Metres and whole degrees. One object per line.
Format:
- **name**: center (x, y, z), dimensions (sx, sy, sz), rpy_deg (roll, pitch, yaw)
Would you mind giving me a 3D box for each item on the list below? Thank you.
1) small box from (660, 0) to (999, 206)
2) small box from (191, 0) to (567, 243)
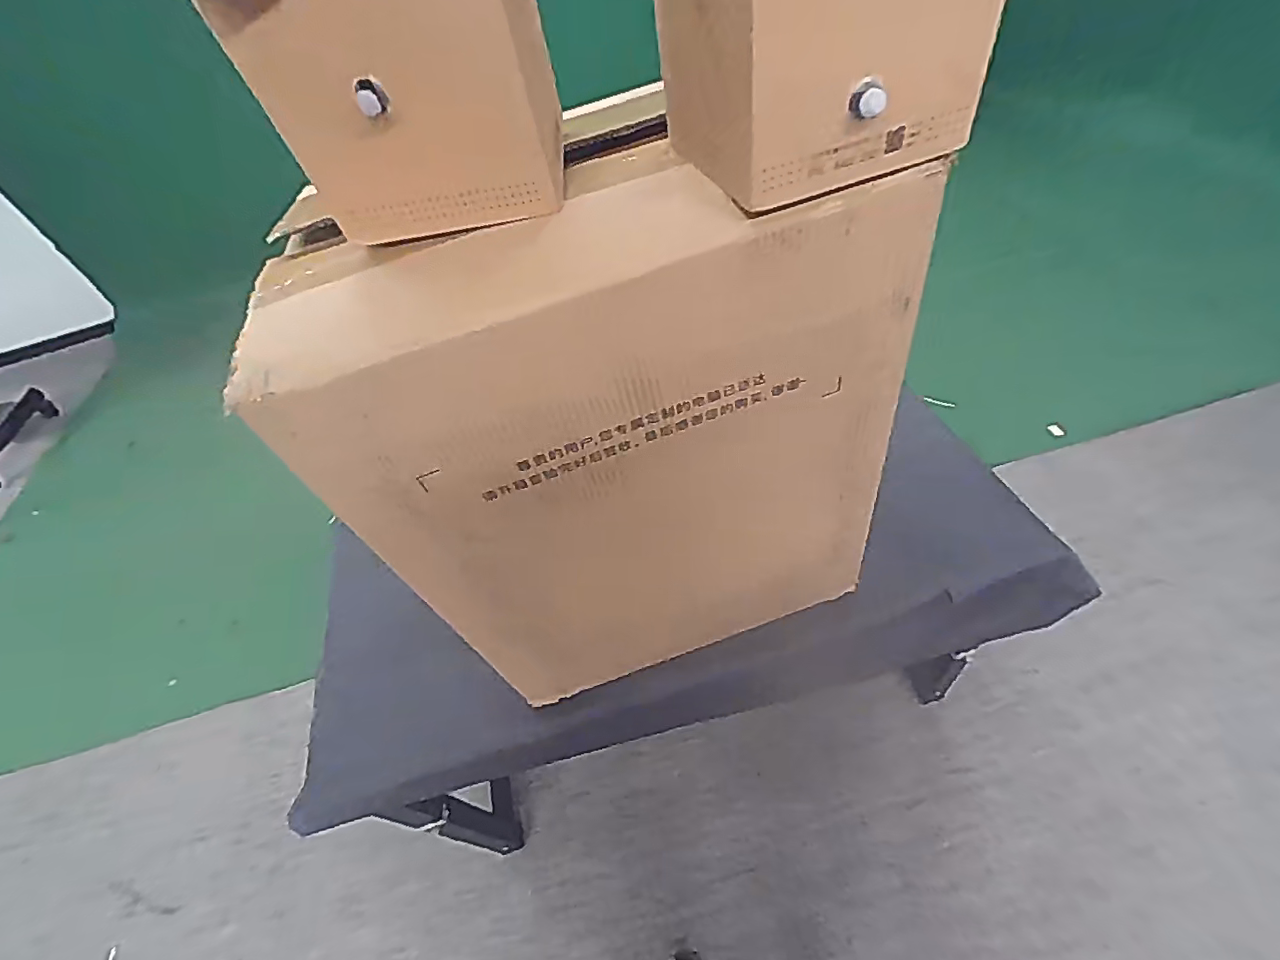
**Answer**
- **small box**: center (0.113, -0.316, 0.367), dimensions (0.168, 0.176, 0.179), rpy_deg (-19, 50, -4)
- **small box**: center (-0.164, -0.306, 0.409), dimensions (0.179, 0.176, 0.168), rpy_deg (-8, 58, 5)
